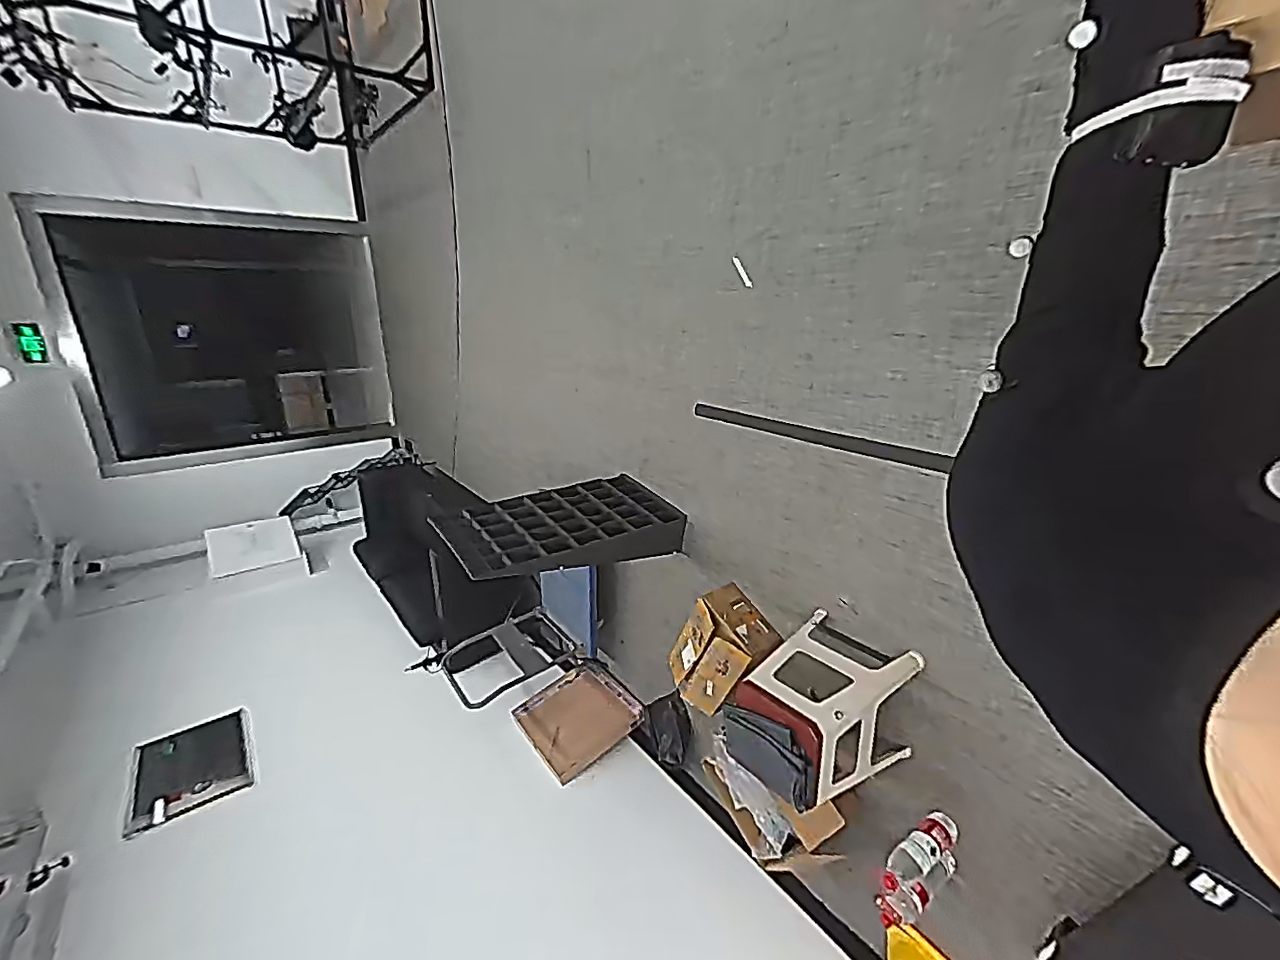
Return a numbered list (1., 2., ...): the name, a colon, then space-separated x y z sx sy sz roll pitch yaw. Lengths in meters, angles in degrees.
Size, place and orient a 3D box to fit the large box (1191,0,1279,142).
1. large box: 0.608 -0.429 0.283 0.408 0.320 0.320 13 115 48
